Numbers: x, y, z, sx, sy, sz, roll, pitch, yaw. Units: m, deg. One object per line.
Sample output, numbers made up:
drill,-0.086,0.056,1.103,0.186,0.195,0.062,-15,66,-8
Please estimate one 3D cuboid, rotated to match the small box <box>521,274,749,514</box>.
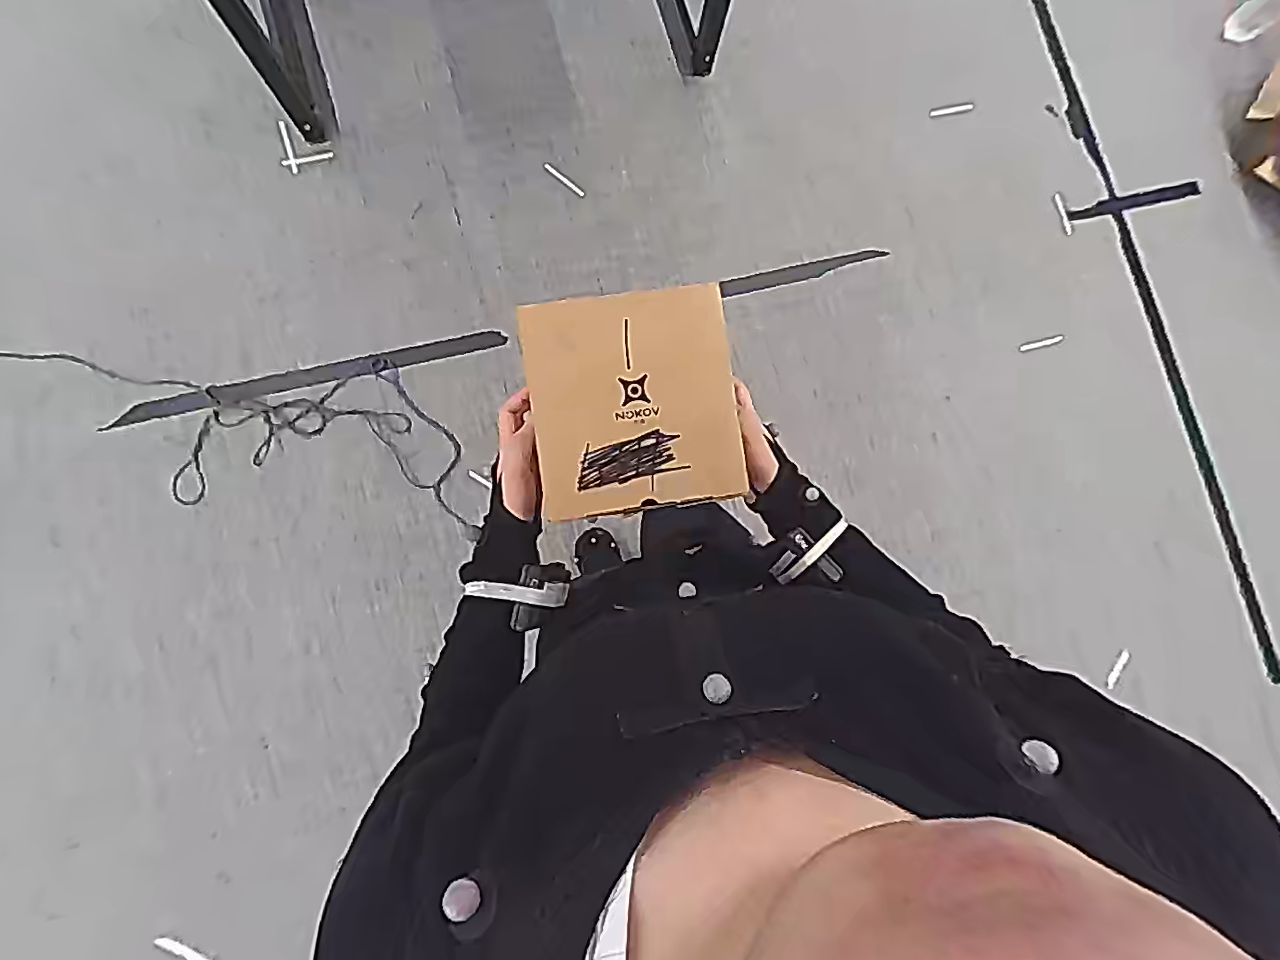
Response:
small box,-0.008,-0.070,0.507,0.168,0.176,0.179,-8,90,-5
